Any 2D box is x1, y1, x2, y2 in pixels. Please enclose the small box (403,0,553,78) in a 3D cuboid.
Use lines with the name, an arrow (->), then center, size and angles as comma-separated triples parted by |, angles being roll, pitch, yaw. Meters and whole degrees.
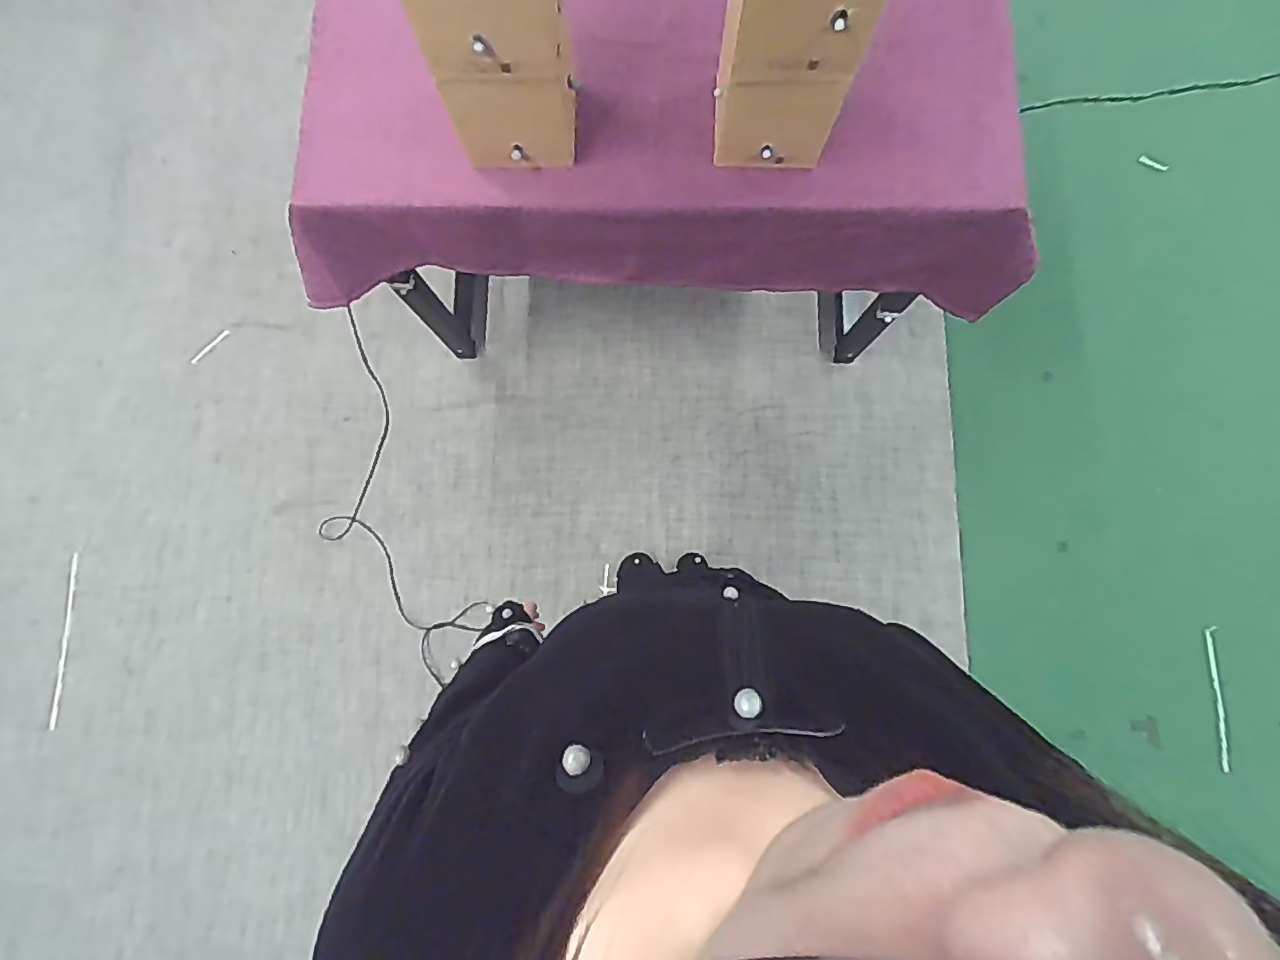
small box -> -0.204, -0.645, 0.665 | 0.168, 0.176, 0.179 | 1, 82, 1

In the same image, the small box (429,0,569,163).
small box -> -0.203, -0.616, 0.828 | 0.179, 0.176, 0.168 | -1, 81, 0

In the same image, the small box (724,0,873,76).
small box -> 0.198, -0.637, 0.662 | 0.168, 0.176, 0.179 | 1, 82, 0
